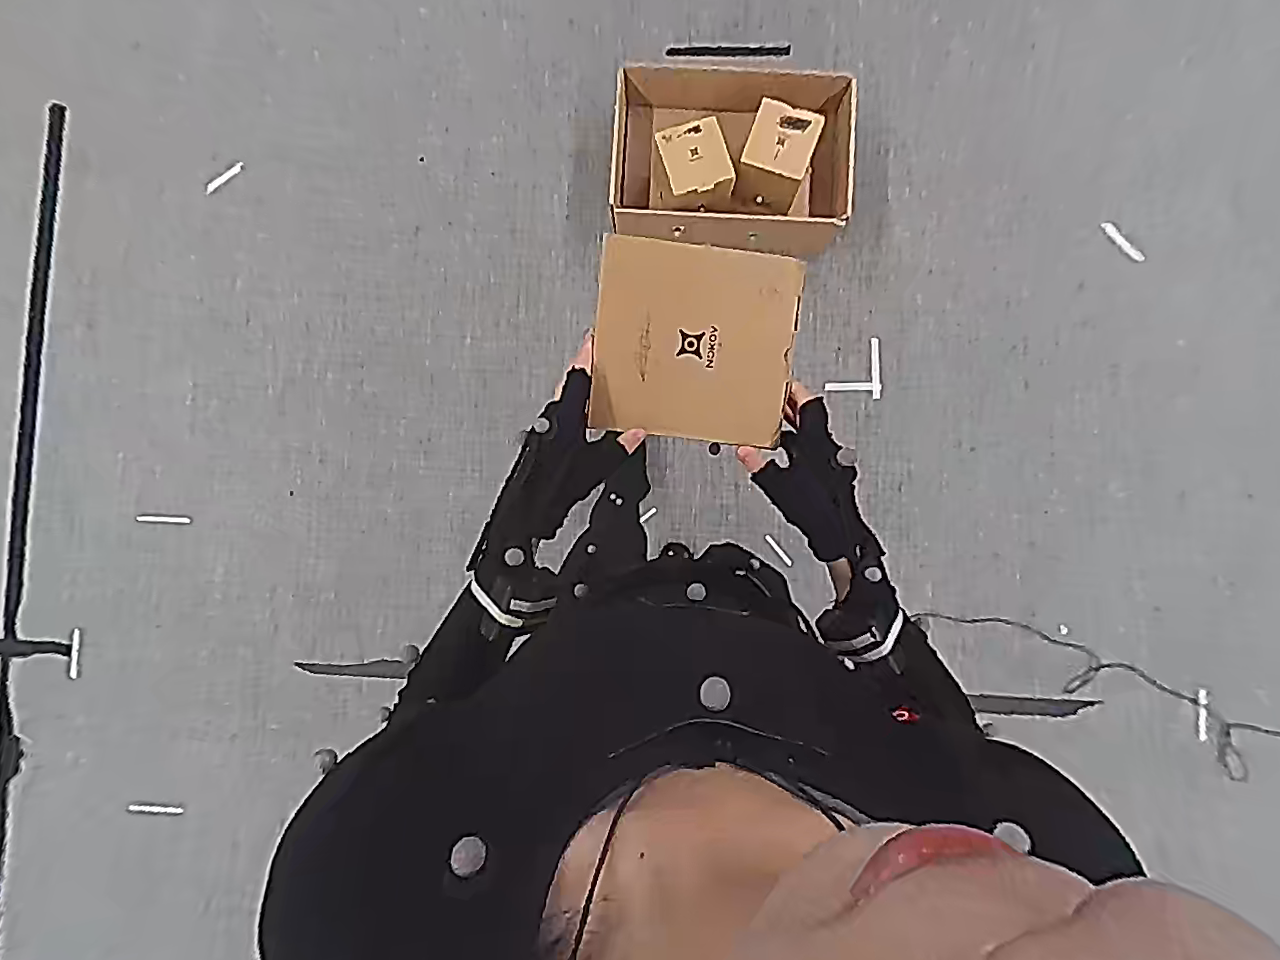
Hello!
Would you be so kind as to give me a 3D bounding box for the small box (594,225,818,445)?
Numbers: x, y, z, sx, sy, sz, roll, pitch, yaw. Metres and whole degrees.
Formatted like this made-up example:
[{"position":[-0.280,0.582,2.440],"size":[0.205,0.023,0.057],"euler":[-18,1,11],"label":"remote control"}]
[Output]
[{"position":[0.052,-0.129,0.535],"size":[0.179,0.176,0.168],"euler":[6,95,-3],"label":"small box"}]
